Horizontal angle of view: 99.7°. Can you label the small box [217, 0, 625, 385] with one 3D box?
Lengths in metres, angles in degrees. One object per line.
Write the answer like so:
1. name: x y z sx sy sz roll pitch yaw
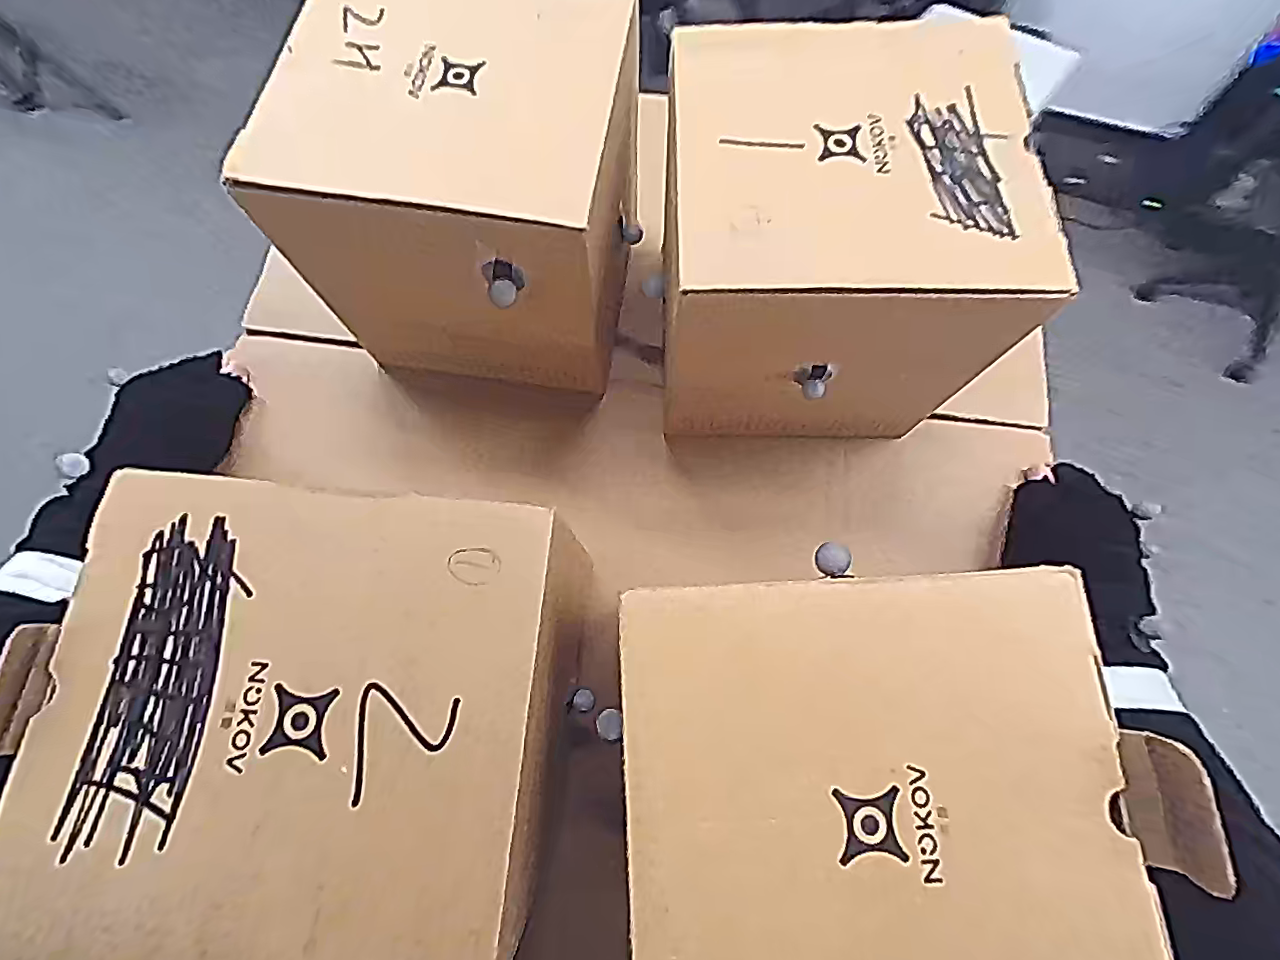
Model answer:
1. small box: -0.107 -0.178 0.356 0.179 0.176 0.168 8 72 2
